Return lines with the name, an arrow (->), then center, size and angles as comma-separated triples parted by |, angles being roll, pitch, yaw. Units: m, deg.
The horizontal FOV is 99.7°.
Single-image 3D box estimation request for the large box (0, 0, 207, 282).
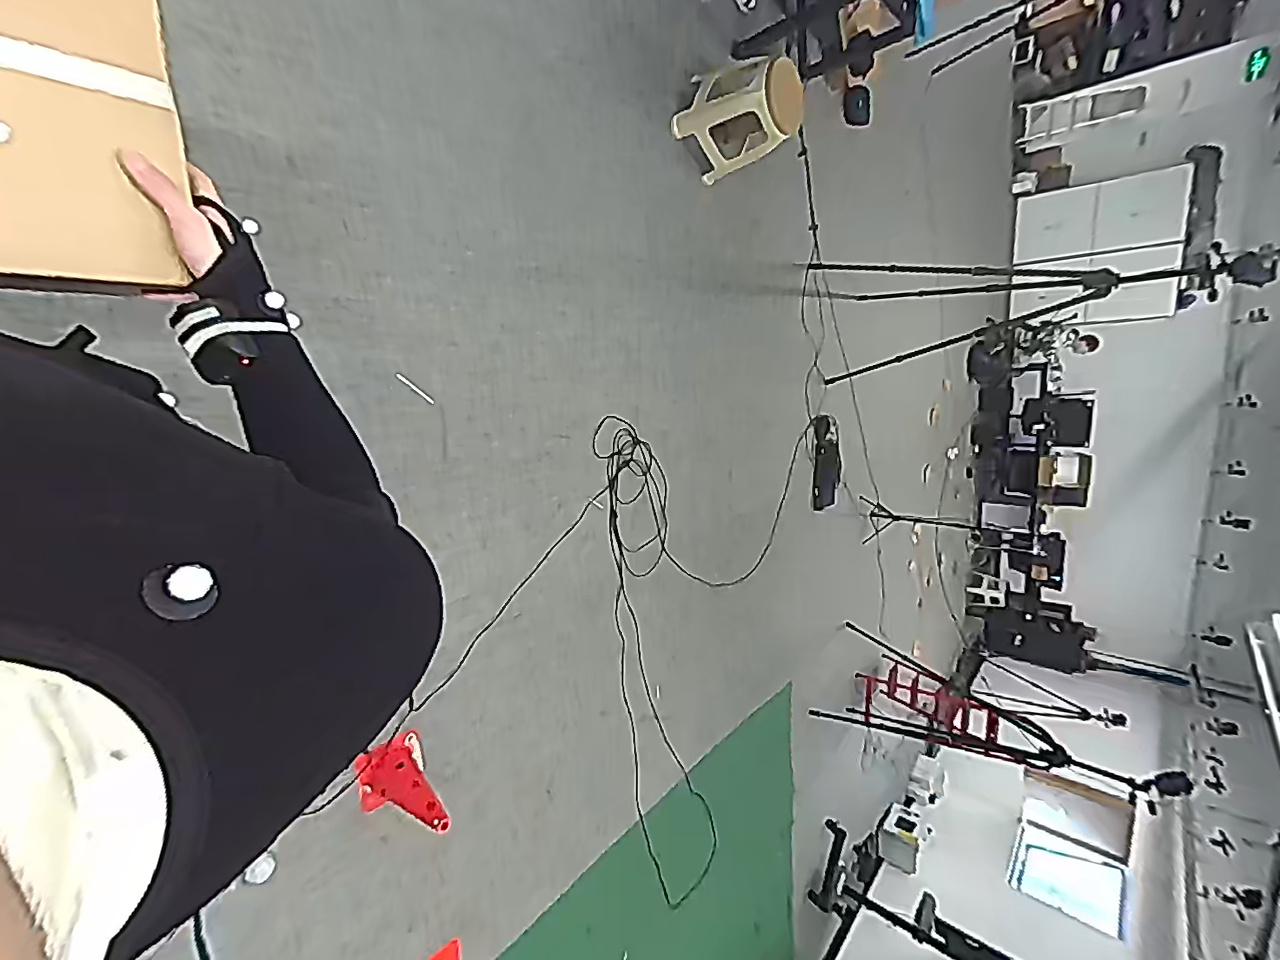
large box -> -0.658, -0.339, 0.432 | 0.408, 0.320, 0.320 | -15, 114, -47
